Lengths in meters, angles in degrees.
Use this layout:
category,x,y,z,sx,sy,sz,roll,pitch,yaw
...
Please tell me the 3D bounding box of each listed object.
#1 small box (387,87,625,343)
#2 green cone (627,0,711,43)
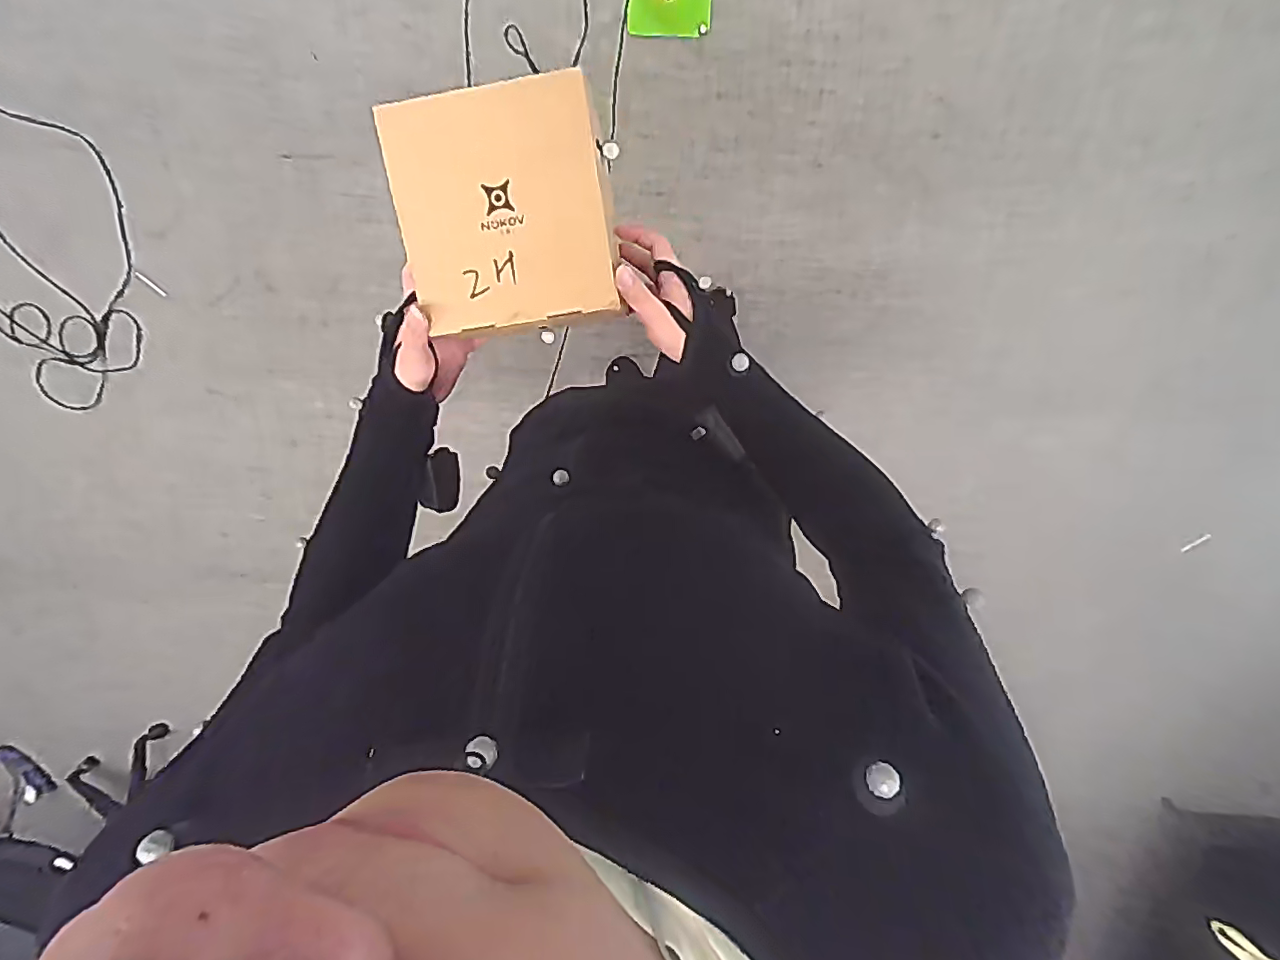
category,x,y,z,sx,sy,sz,roll,pitch,yaw
small box,-0.108,-0.230,0.518,0.168,0.176,0.179,-7,104,4
green cone,0.061,-1.113,1.122,0.202,0.368,0.200,3,106,2
